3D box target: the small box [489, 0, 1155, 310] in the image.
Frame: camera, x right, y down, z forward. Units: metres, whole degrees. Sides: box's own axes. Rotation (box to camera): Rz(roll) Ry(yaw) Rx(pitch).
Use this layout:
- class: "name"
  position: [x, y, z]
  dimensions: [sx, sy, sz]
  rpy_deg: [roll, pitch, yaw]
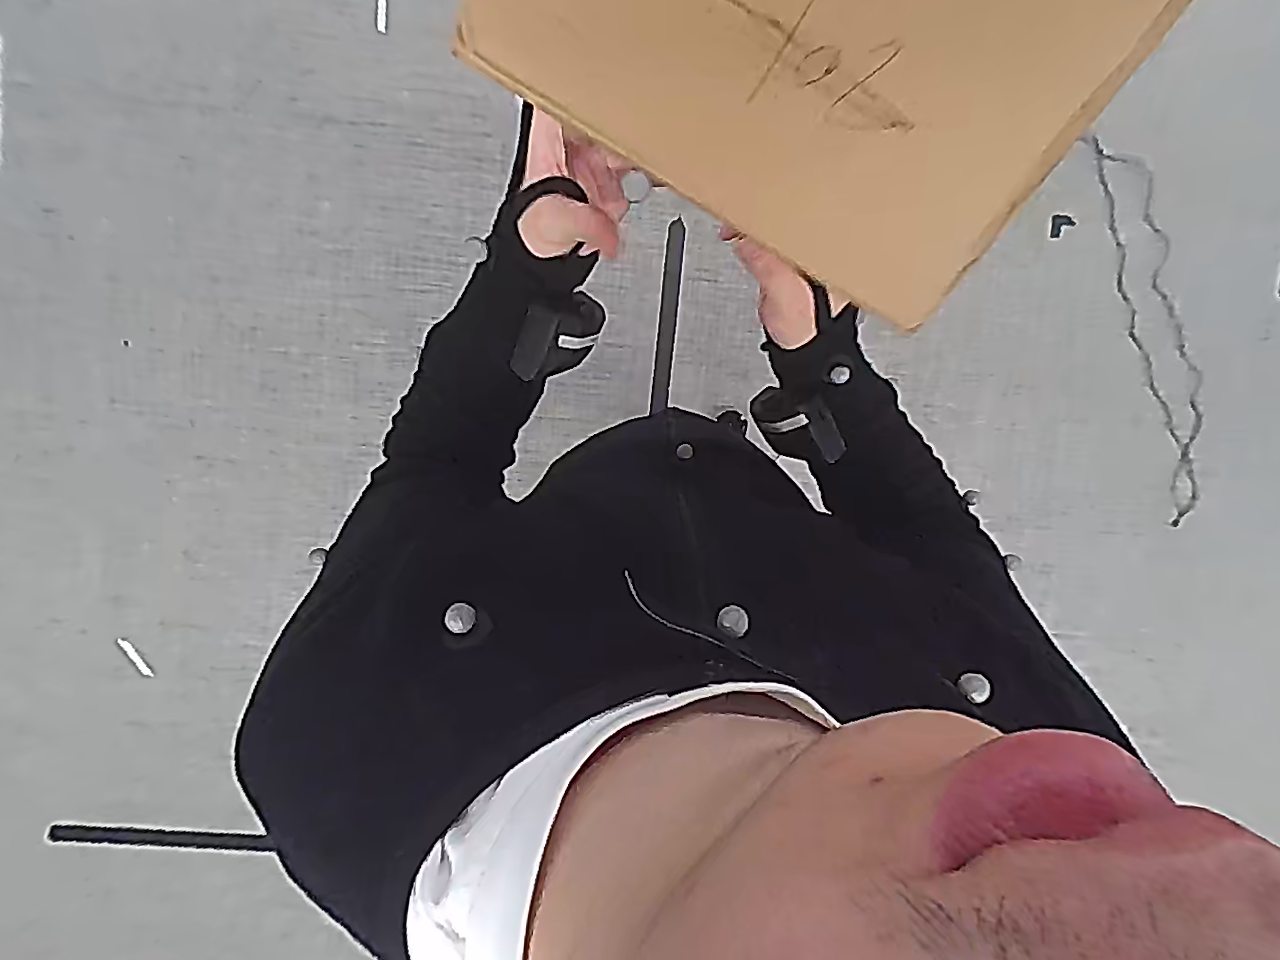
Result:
- class: "small box"
  position: [0.061, -0.198, 0.200]
  dimensions: [0.168, 0.176, 0.179]
  rpy_deg: [21, 120, -17]
